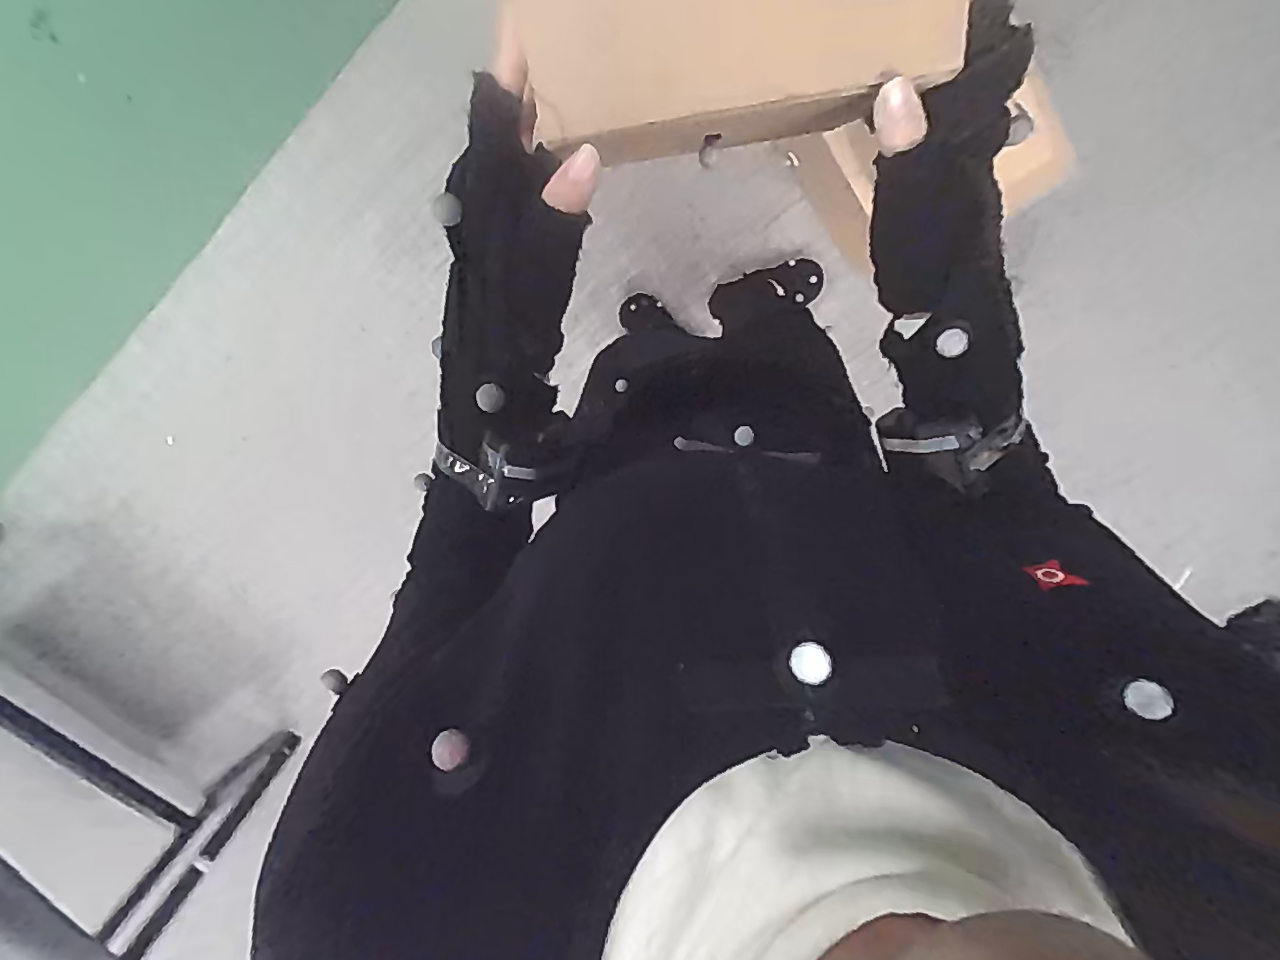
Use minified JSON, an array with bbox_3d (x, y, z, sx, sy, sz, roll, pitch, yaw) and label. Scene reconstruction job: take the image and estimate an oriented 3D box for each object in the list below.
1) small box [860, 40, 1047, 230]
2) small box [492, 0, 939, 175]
[{"bbox_3d":[0.461,-0.507,0.828,0.179,0.176,0.168,-32,109,17],"label":"small box"},{"bbox_3d":[0.023,-0.256,0.264,0.179,0.176,0.168,-8,117,4],"label":"small box"}]
